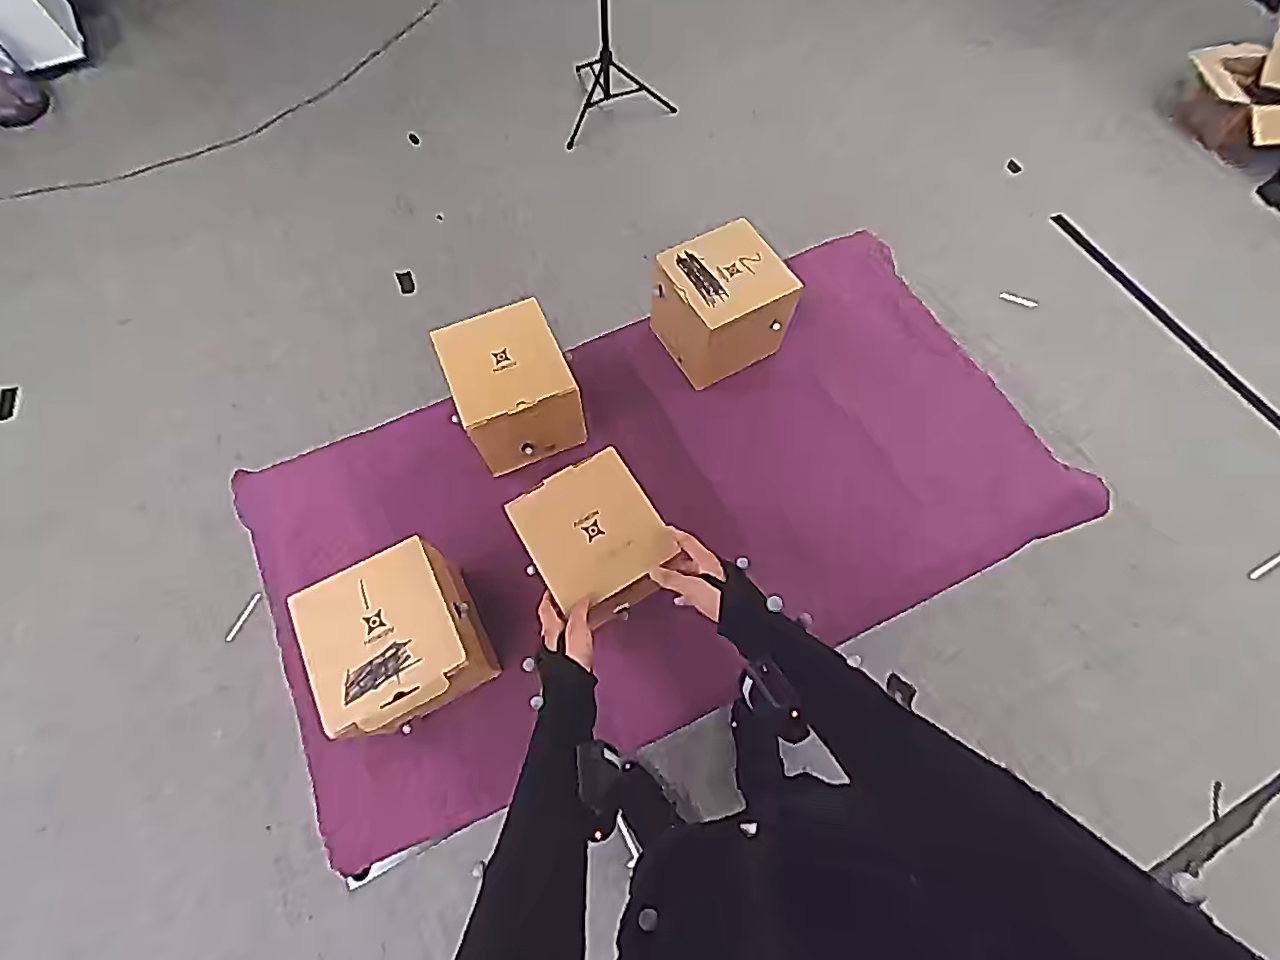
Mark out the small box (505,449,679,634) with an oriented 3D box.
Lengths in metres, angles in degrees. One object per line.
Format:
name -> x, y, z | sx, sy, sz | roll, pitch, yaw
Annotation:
small box -> -0.064, 0.094, 0.756 | 0.168, 0.176, 0.179 | -30, 71, -11

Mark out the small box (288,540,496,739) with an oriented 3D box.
small box -> -0.308, 0.208, 0.703 | 0.168, 0.176, 0.179 | -27, 69, -11

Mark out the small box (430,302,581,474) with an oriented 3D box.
small box -> -0.201, -0.137, 0.845 | 0.168, 0.176, 0.179 | -23, 70, -10
